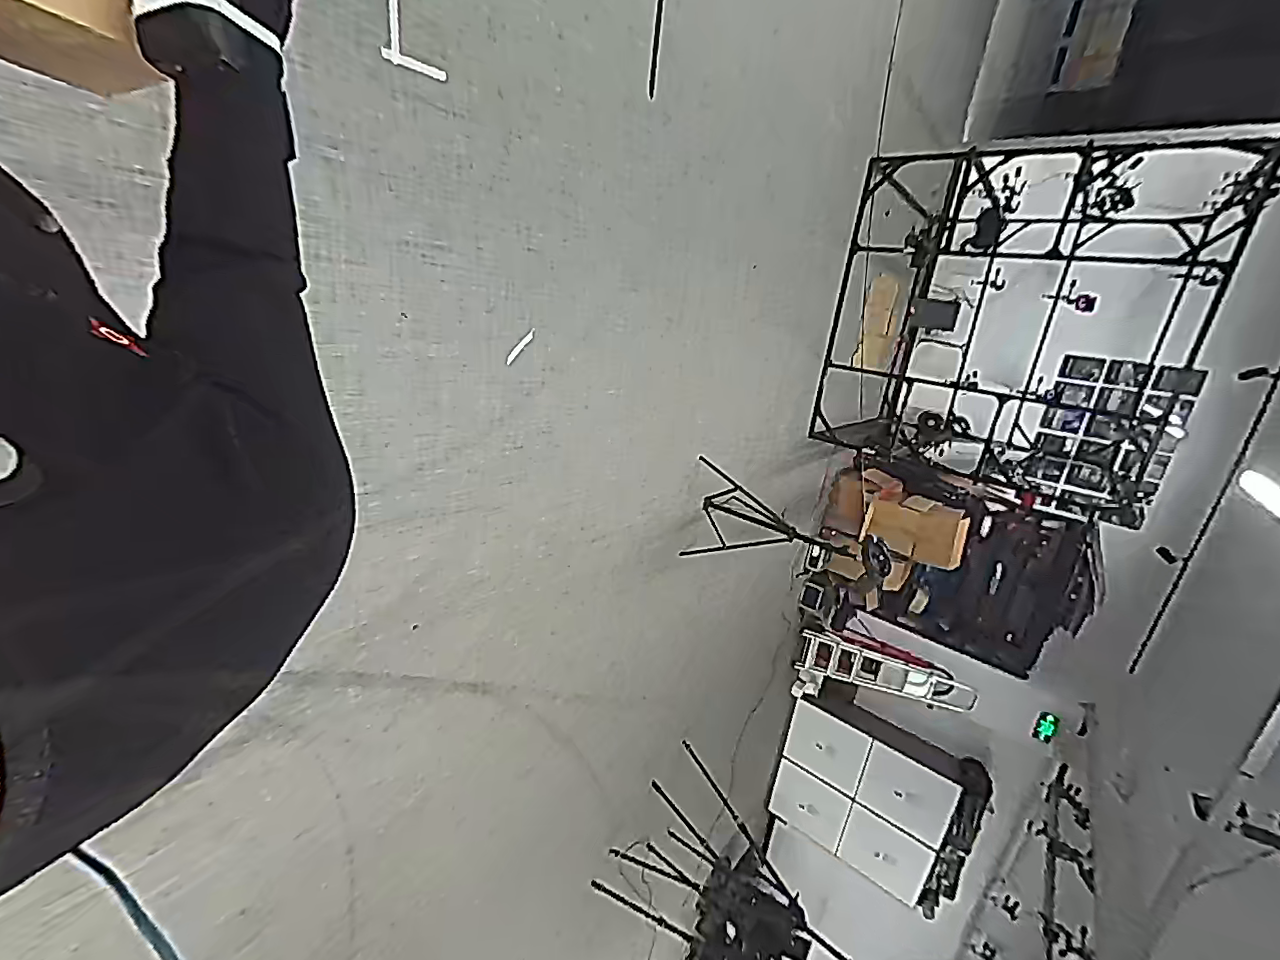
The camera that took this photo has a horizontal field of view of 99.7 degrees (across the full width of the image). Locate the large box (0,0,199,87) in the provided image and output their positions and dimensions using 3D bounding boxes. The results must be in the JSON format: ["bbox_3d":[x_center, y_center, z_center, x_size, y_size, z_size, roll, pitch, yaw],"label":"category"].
[{"bbox_3d":[-0.532,-0.487,0.289,0.408,0.320,0.320,-6,115,-53],"label":"large box"}]
